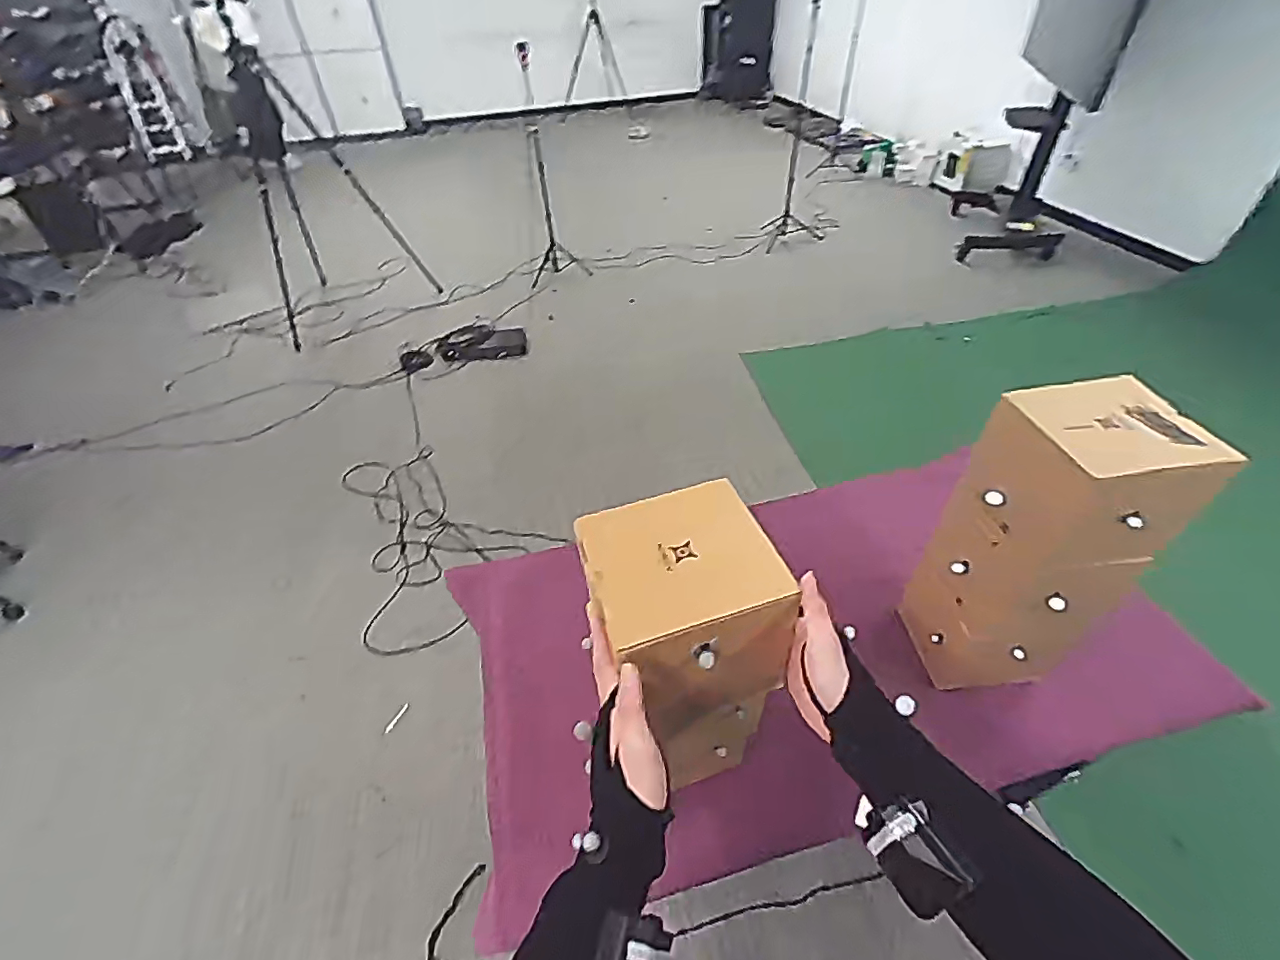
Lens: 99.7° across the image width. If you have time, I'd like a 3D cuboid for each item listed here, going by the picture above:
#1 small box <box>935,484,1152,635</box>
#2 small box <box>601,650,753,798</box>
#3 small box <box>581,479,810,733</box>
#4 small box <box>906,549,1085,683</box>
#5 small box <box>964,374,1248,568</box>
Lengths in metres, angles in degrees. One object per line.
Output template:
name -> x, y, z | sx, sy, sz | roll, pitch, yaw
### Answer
small box -> 0.565, 0.110, 0.795 | 0.179, 0.176, 0.168 | -7, 45, -2
small box -> 0.049, 0.348, 0.822 | 0.179, 0.176, 0.168 | -16, 45, -12
small box -> 0.050, 0.130, 0.563 | 0.179, 0.176, 0.168 | -16, 43, -9
small box -> 0.574, 0.226, 0.910 | 0.179, 0.176, 0.168 | -4, 44, -1
small box -> 0.558, -0.009, 0.682 | 0.179, 0.176, 0.168 | -8, 44, -3
